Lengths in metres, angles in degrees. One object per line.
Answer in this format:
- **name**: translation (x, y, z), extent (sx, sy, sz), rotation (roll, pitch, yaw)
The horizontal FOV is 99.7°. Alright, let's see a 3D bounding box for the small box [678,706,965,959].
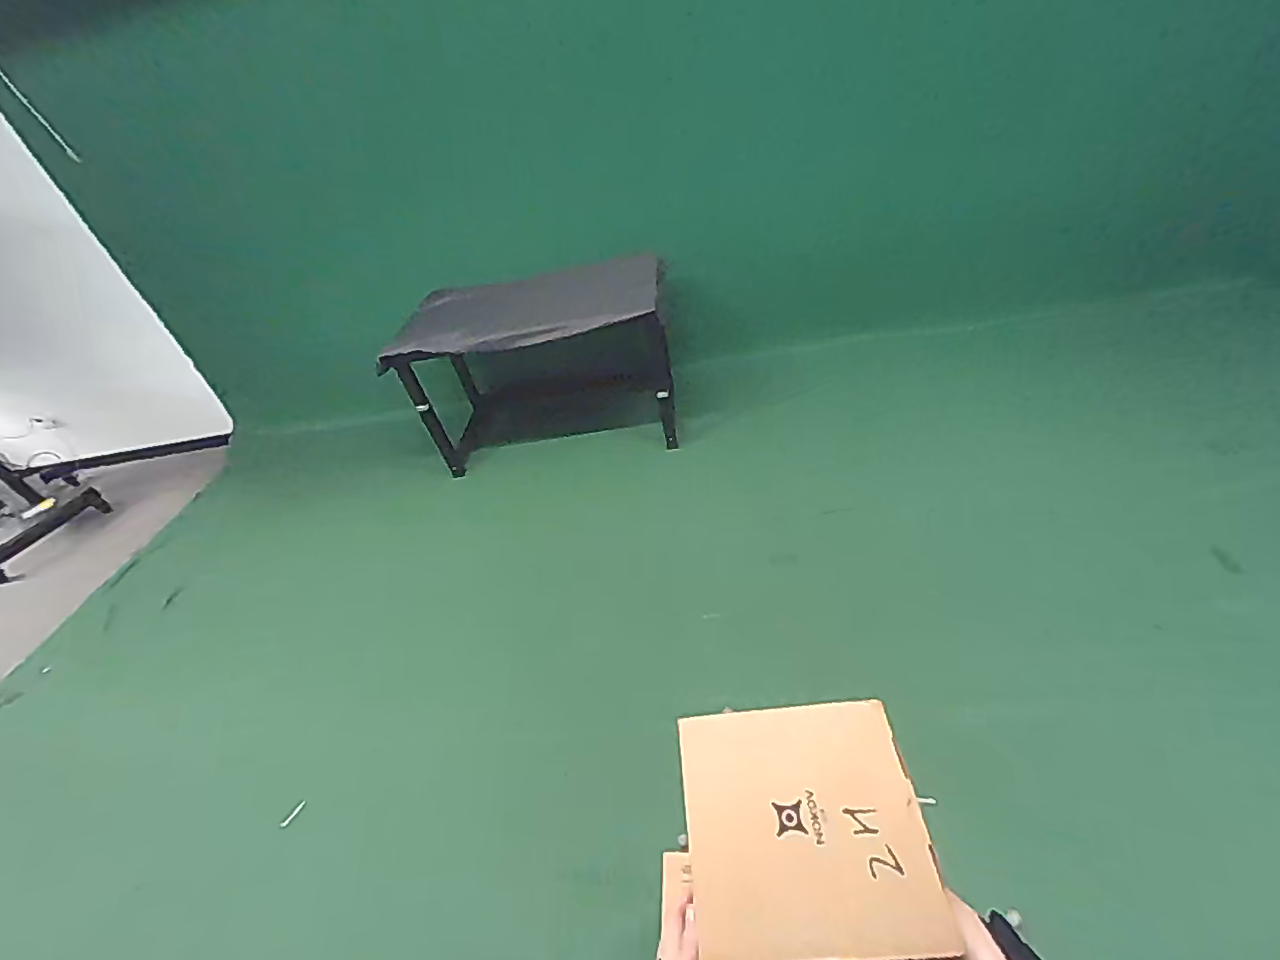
- **small box**: translation (0.133, 0.311, 0.462), extent (0.179, 0.176, 0.168), rotation (-7, 48, 5)

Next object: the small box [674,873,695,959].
- **small box**: translation (0.167, 0.951, 1.129), extent (0.168, 0.176, 0.179), rotation (-7, 38, 10)
